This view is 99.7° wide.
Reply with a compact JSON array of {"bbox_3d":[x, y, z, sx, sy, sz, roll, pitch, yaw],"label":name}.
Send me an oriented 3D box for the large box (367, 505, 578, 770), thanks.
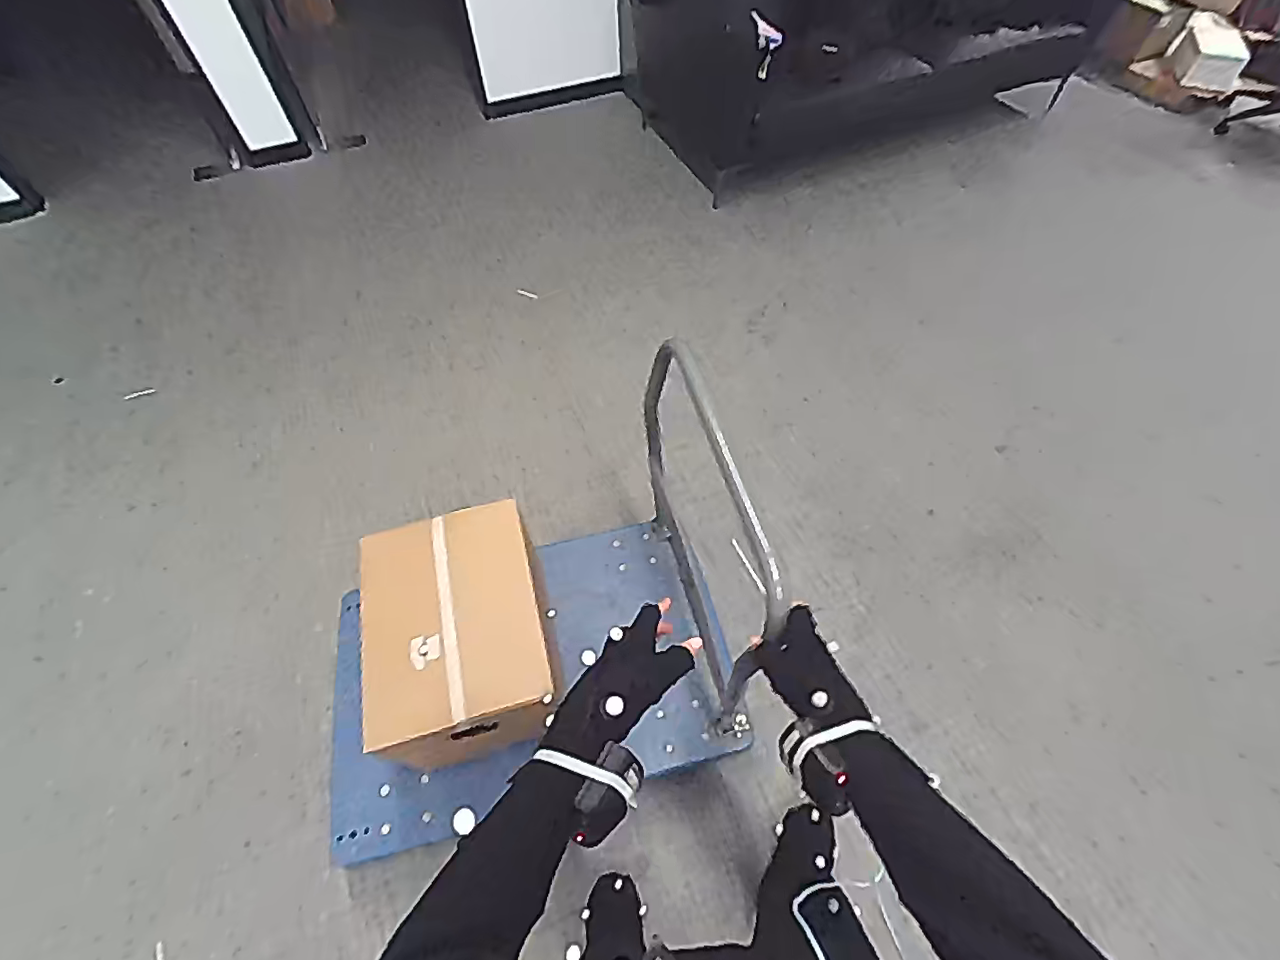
[{"bbox_3d":[-0.335,0.326,1.120,0.320,0.320,0.408,-16,59,-9],"label":"large box"}]
